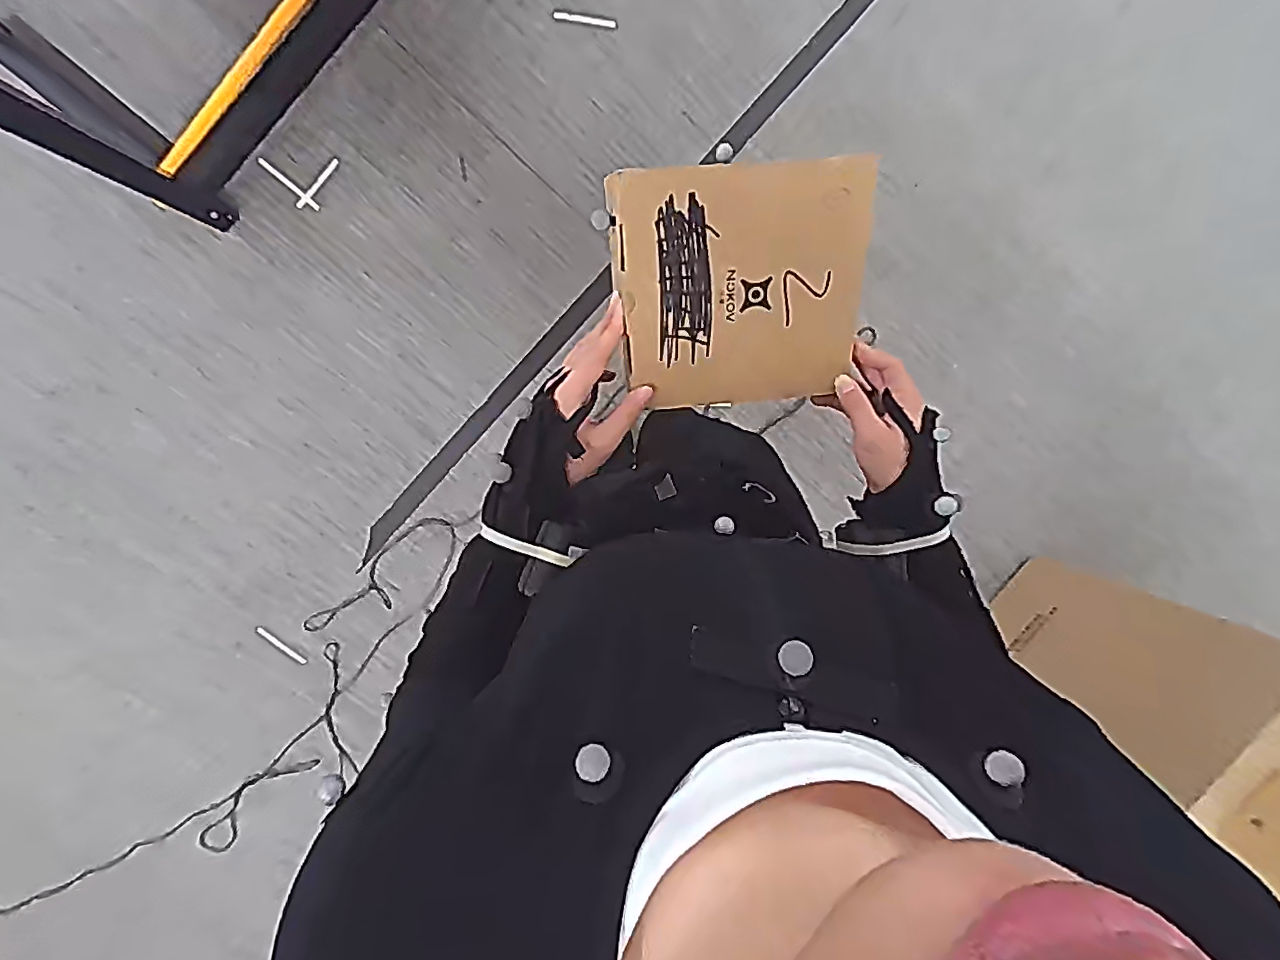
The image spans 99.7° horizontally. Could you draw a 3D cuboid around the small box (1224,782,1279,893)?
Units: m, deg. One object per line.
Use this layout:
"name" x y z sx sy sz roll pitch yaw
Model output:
"small box" 1.104 0.610 0.851 0.179 0.176 0.168 42 91 -10
